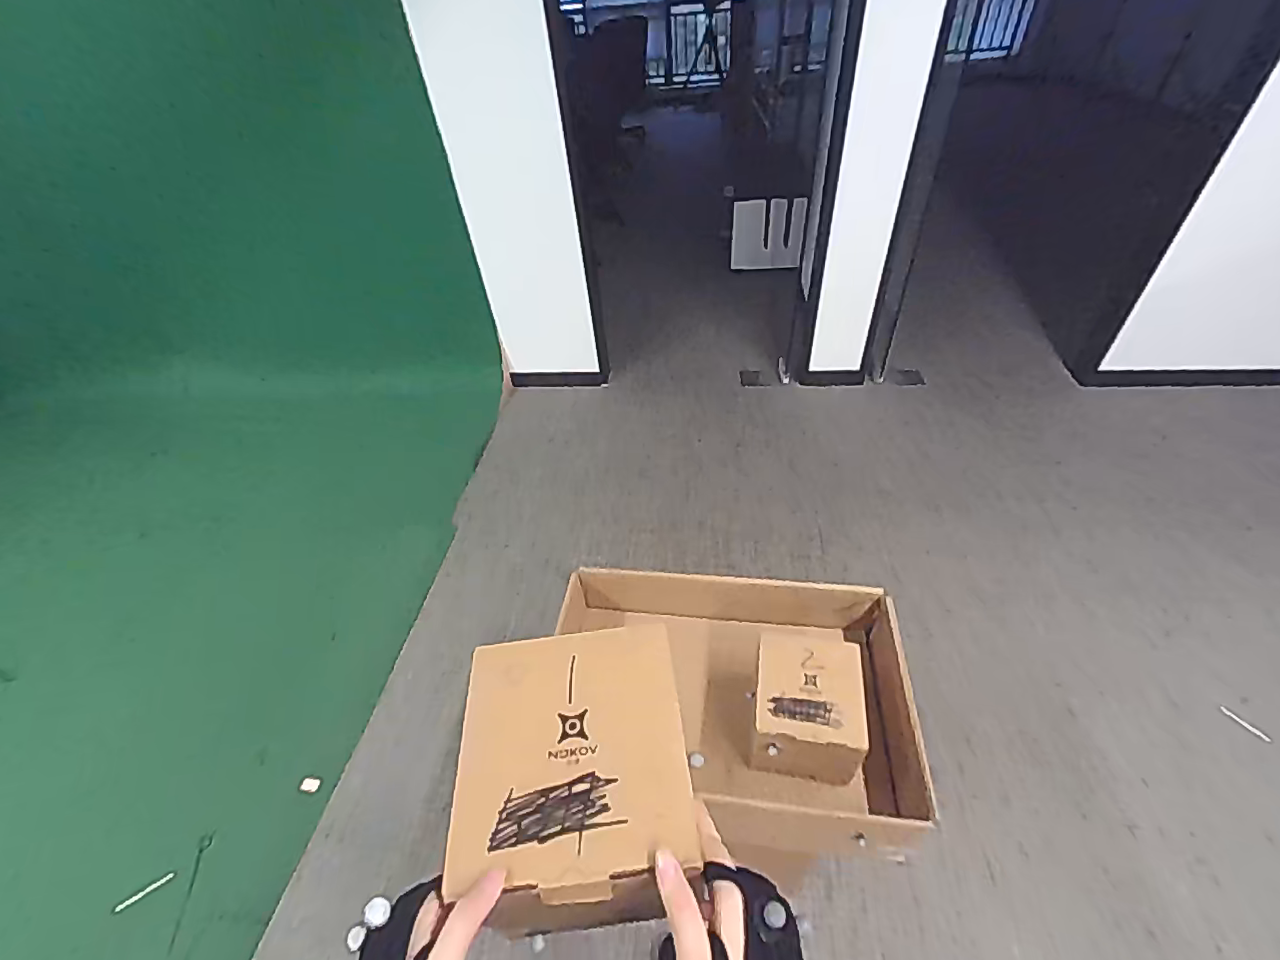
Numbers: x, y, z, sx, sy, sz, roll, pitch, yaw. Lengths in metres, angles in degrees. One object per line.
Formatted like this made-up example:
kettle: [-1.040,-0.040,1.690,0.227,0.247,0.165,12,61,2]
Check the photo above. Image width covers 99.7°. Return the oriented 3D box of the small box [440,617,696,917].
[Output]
small box: [-0.047,0.244,0.458,0.168,0.176,0.179,-7,42,0]
